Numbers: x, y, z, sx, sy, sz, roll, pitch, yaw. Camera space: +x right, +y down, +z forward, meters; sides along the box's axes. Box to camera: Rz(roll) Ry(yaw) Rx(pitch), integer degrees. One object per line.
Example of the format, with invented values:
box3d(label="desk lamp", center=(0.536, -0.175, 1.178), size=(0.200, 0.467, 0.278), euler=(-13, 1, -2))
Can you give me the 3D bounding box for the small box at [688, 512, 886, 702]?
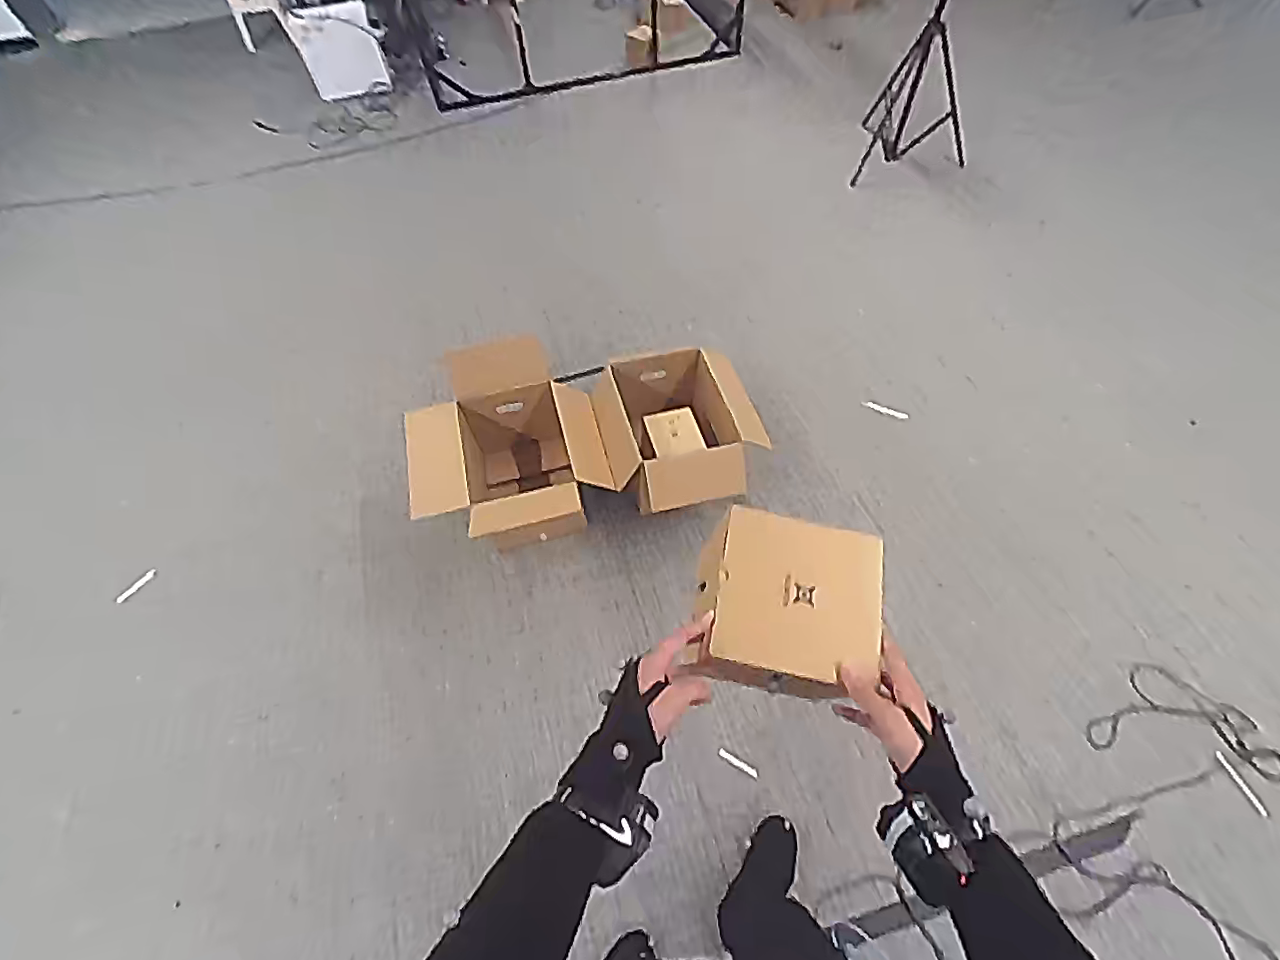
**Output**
box3d(label="small box", center=(0.163, 0.158, 0.634), size=(0.179, 0.176, 0.168), euler=(12, 65, 3))
